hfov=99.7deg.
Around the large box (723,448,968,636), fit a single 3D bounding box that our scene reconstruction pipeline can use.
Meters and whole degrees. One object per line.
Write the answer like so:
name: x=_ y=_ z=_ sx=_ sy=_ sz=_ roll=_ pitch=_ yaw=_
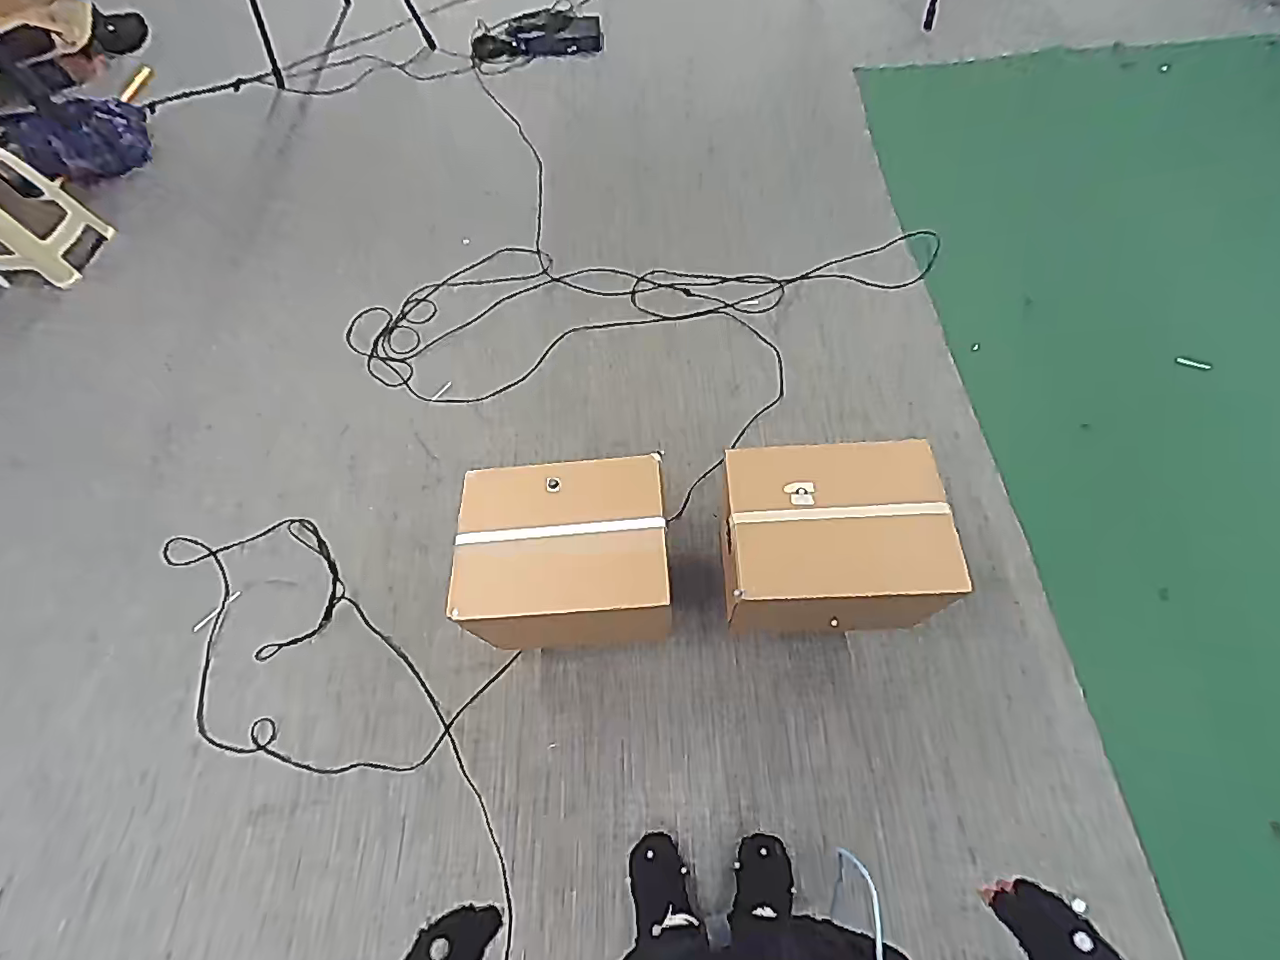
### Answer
large box: x=0.397 y=0.149 z=1.167 sx=0.408 sy=0.320 sz=0.320 roll=-3 pitch=62 yaw=4
